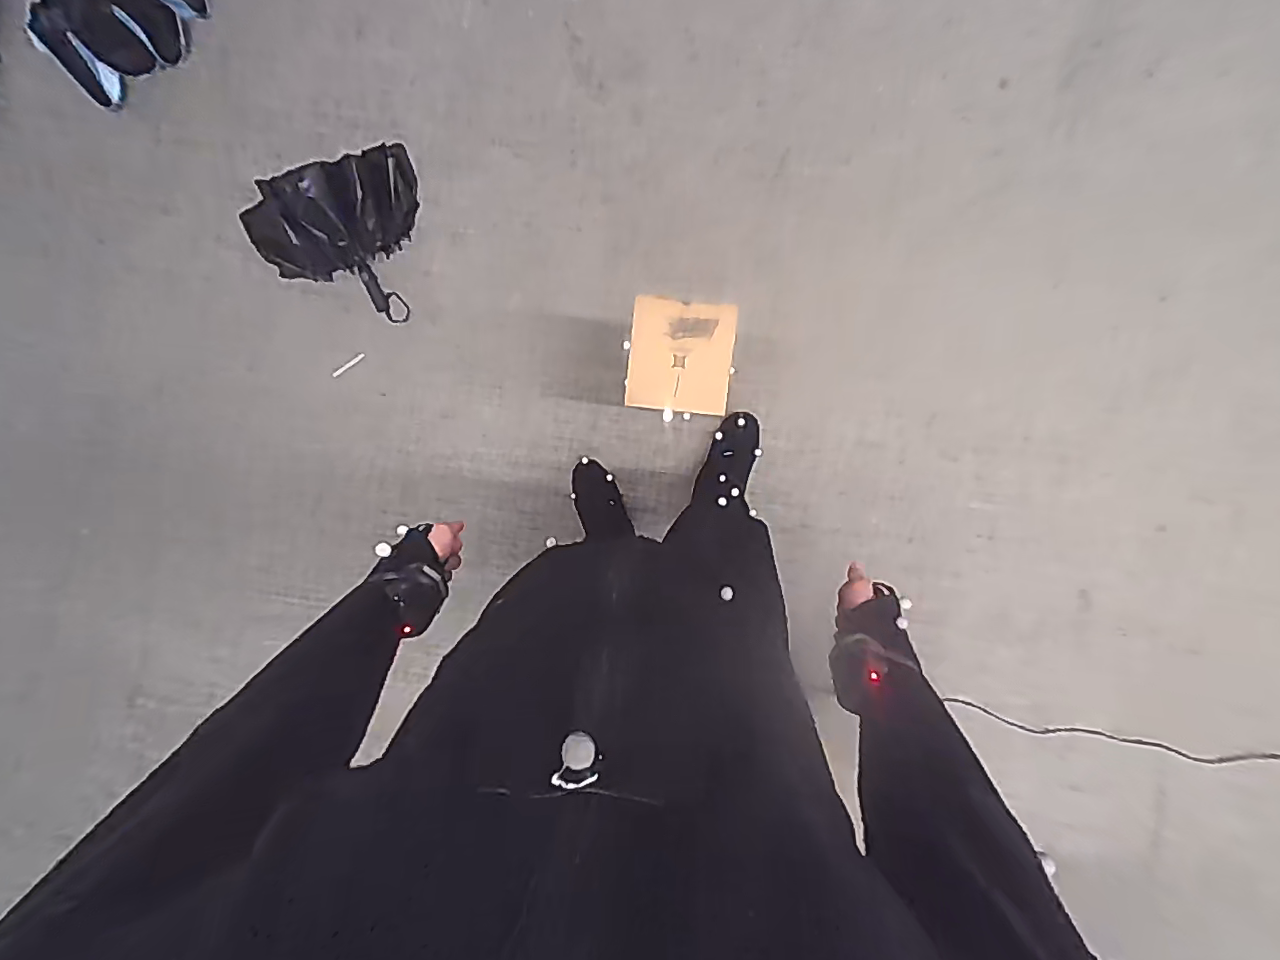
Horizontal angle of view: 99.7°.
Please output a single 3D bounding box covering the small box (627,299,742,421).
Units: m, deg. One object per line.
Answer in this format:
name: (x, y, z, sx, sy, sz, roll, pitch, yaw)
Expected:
small box: (0.070, -0.198, 0.933, 0.168, 0.176, 0.179, 7, 97, 1)
